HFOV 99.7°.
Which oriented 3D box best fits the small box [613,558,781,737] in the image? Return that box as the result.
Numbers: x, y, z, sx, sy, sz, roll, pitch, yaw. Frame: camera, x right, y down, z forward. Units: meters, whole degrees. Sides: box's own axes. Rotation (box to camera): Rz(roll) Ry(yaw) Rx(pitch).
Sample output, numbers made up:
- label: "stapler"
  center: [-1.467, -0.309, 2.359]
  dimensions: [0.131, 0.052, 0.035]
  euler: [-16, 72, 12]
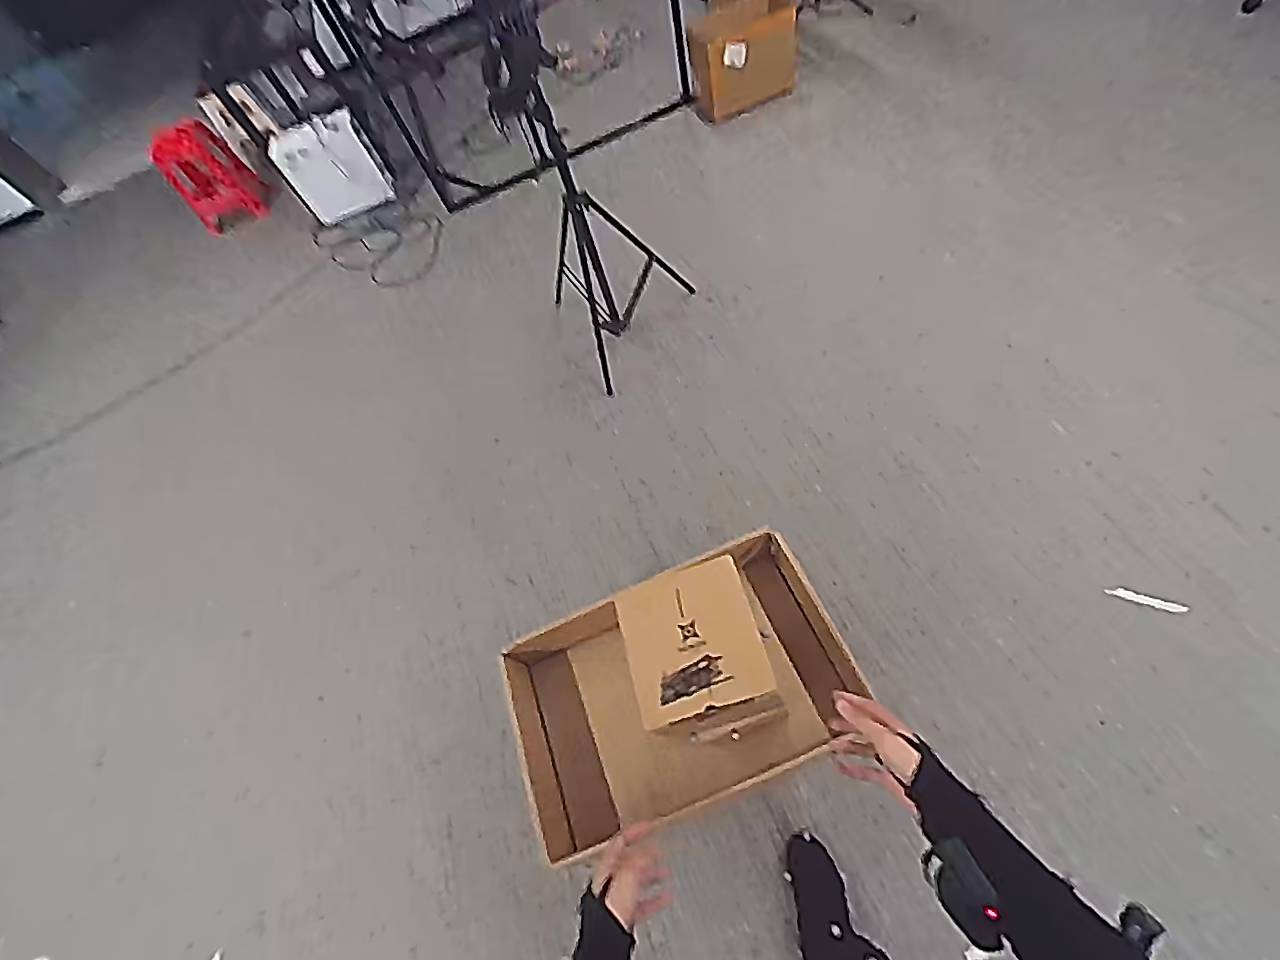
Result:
- label: "small box"
  center: [0.080, 0.232, 0.722]
  dimensions: [0.168, 0.176, 0.179]
  euler: [-20, 58, 6]
